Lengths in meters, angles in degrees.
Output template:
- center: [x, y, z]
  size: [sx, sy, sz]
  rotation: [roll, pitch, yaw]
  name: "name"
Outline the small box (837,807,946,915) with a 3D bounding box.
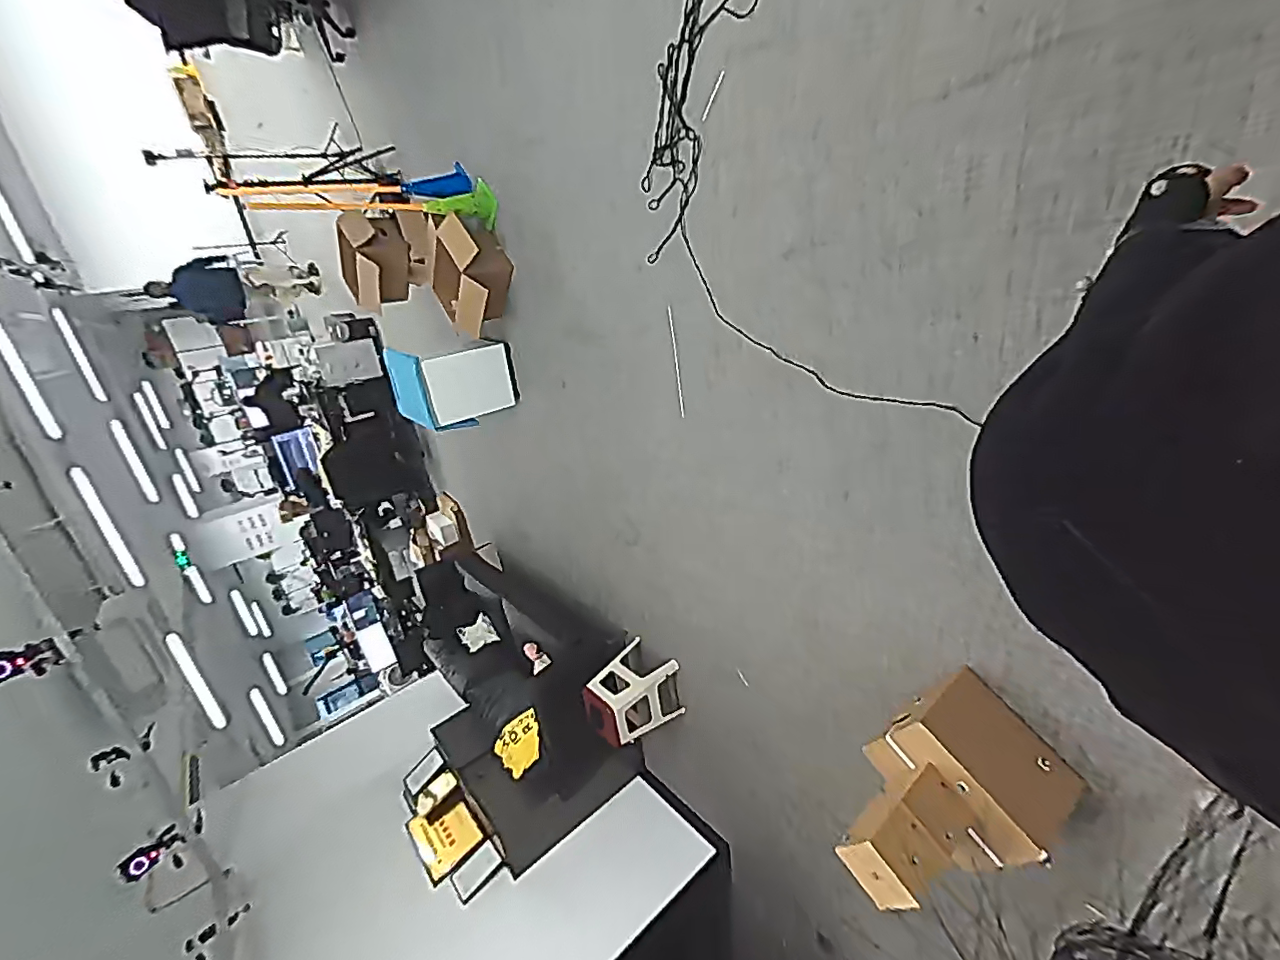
- center: [0.666, 0.996, 1.422]
  size: [0.168, 0.176, 0.179]
  rotation: [50, 144, 24]
  name: "small box"
